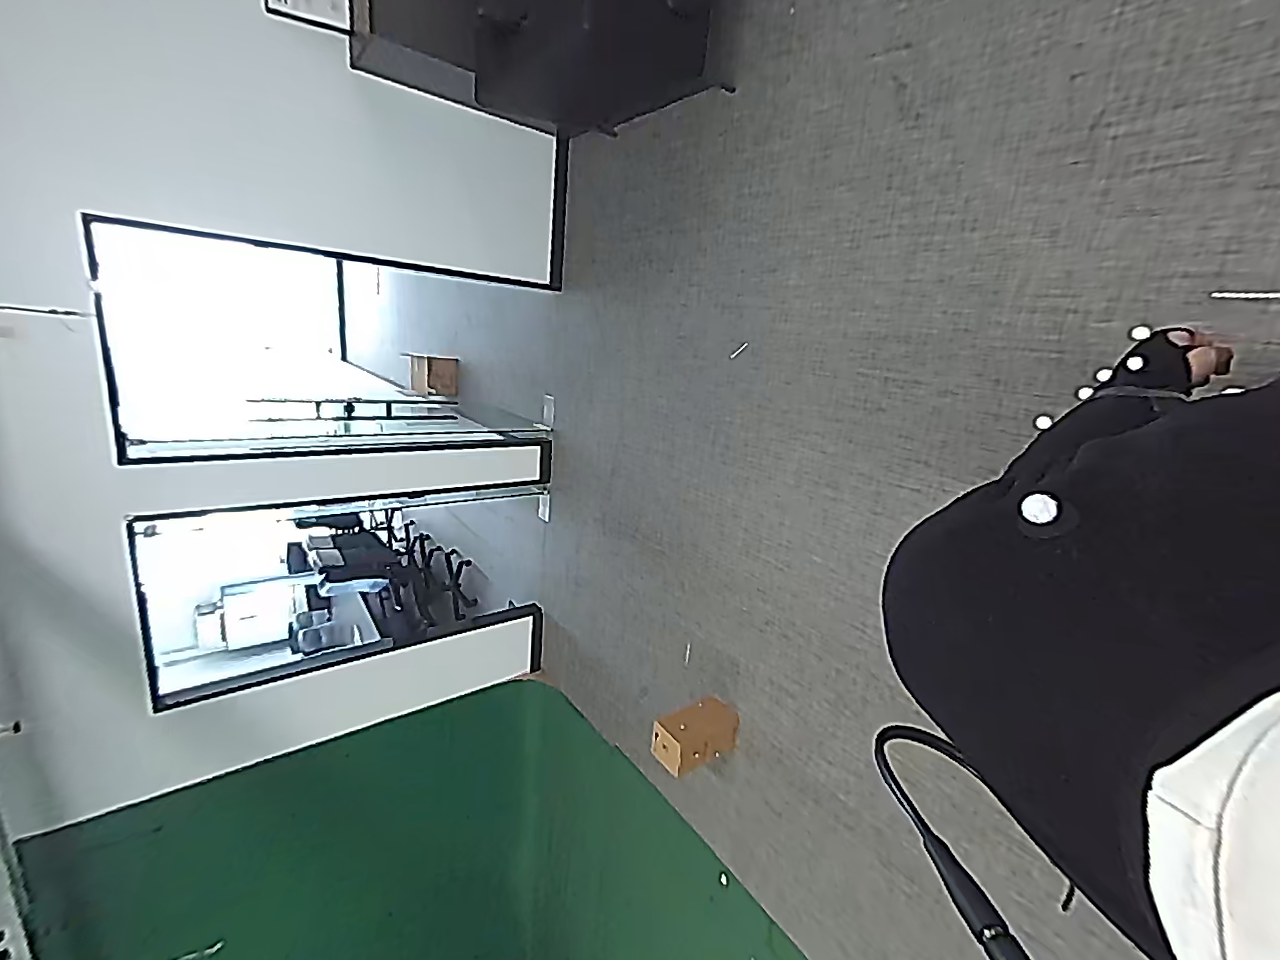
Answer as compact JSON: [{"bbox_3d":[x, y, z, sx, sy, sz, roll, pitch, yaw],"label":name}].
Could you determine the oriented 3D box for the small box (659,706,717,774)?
[{"bbox_3d":[0.206,1.091,2.287,0.179,0.176,0.168,23,112,49],"label":"small box"}]
